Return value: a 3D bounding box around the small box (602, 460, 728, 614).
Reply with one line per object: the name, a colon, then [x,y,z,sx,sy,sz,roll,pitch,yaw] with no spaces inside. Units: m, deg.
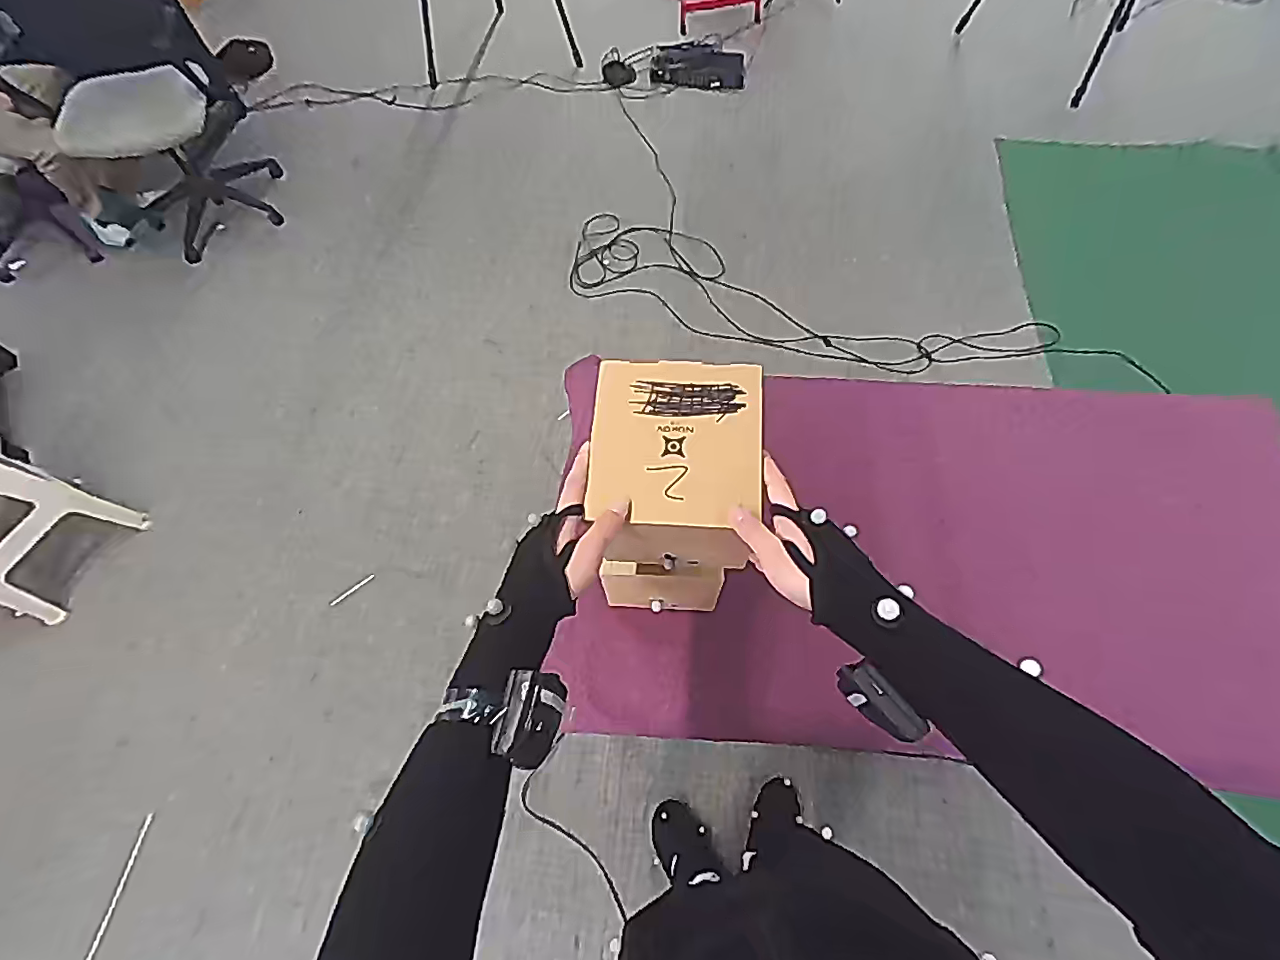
small box: [0.039,0.089,0.808,0.168,0.176,0.179,3,63,4]
